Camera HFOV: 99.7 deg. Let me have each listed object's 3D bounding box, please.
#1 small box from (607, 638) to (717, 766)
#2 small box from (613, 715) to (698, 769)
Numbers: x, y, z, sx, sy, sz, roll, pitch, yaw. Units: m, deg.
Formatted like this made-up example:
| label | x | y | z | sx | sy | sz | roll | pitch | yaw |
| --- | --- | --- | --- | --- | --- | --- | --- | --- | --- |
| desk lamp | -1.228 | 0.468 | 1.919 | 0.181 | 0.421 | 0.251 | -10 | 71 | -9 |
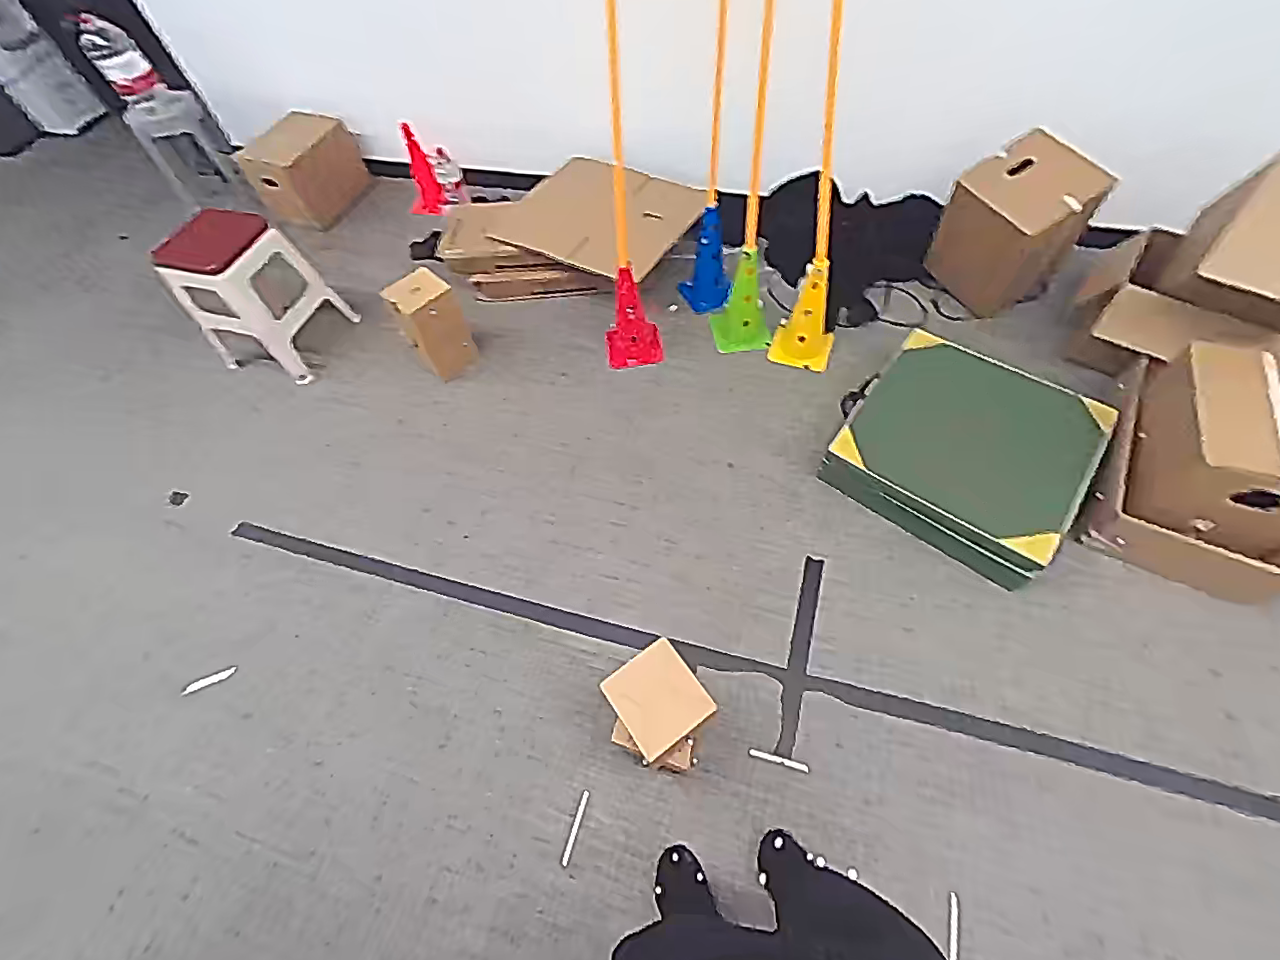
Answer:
| label | x | y | z | sx | sy | sz | roll | pitch | yaw |
| --- | --- | --- | --- | --- | --- | --- | --- | --- | --- |
| small box | 0.045 | 0.465 | 1.133 | 0.168 | 0.176 | 0.179 | -33 | 61 | -15 |
| small box | 0.054 | 0.563 | 1.269 | 0.179 | 0.176 | 0.168 | 14 | 60 | 14 |
